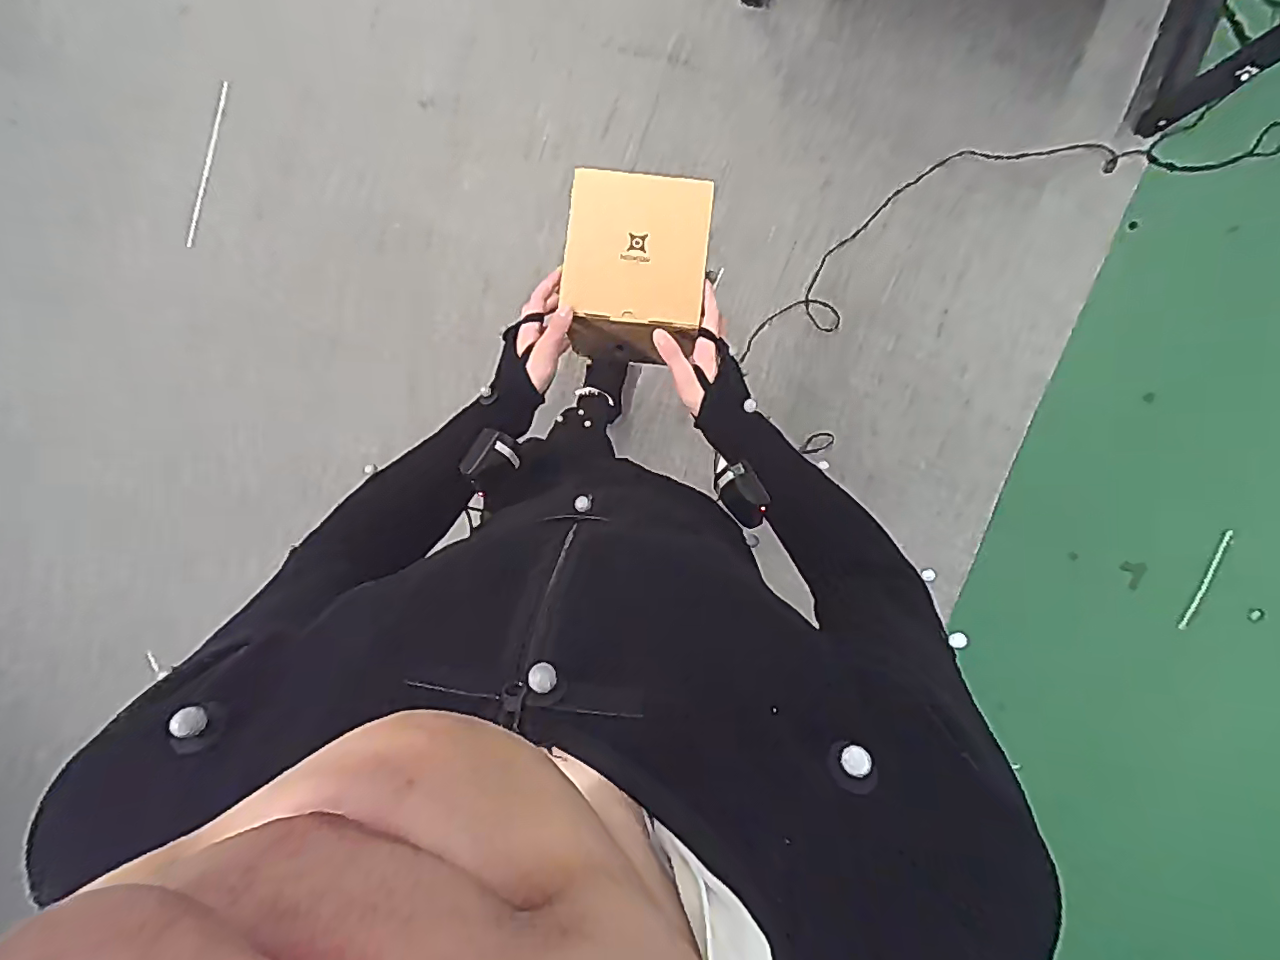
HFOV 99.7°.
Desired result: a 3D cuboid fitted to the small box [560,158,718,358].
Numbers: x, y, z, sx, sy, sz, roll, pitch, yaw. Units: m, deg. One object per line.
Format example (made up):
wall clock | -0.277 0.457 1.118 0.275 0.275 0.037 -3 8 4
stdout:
small box | -0.002 -0.273 0.699 0.168 0.176 0.179 7 88 0
